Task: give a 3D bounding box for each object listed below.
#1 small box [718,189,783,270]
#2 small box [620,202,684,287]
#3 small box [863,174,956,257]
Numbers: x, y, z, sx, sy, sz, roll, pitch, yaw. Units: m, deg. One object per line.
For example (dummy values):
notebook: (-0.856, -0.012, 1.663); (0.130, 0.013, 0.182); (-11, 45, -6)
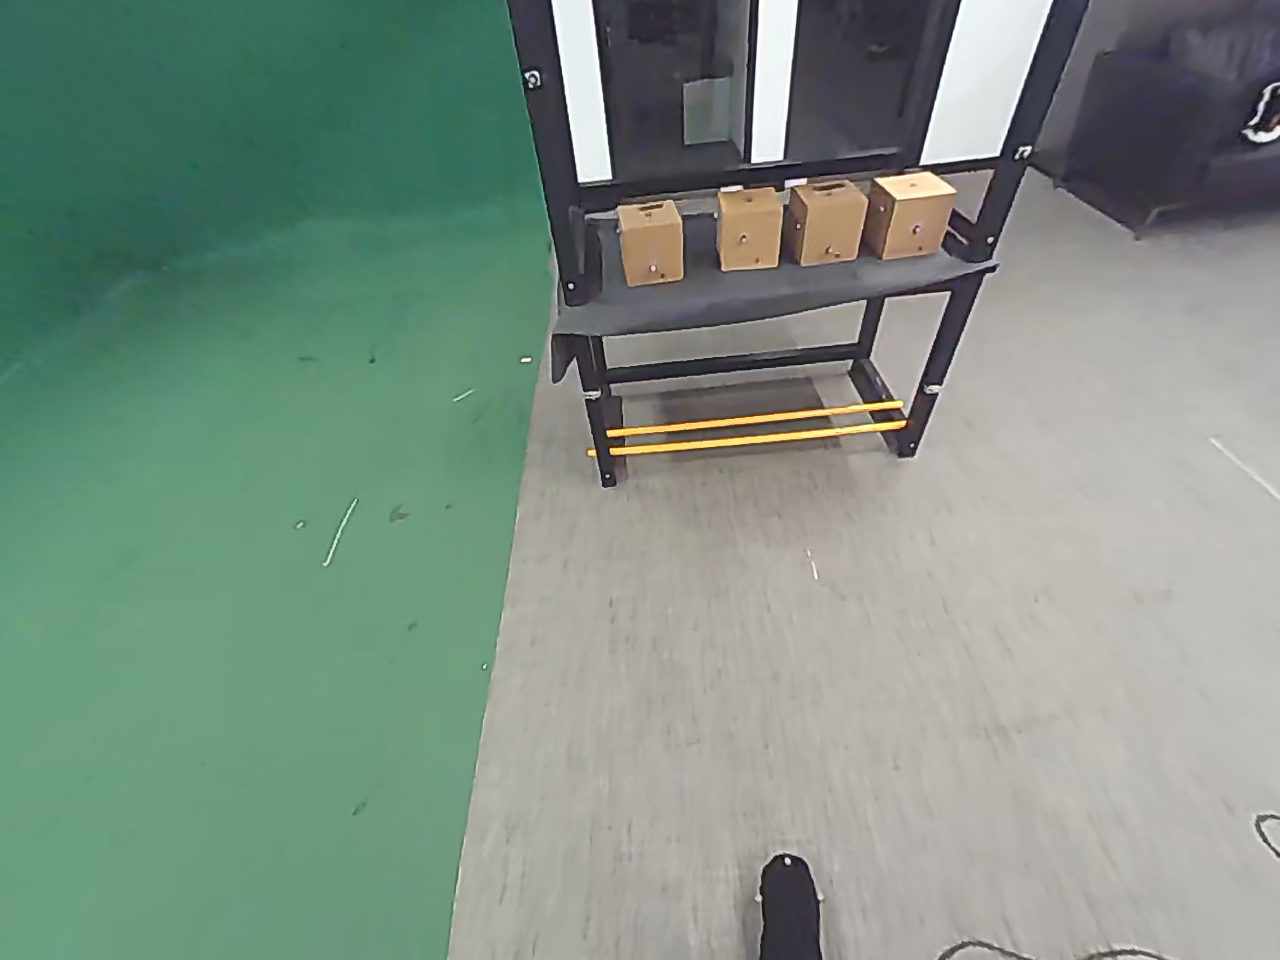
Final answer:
small box: (0.320, -0.731, 1.591); (0.168, 0.176, 0.179); (-3, 46, 4)
small box: (0.035, -0.687, 1.578); (0.168, 0.176, 0.179); (-8, 47, -1)
small box: (0.766, -0.755, 1.555); (0.168, 0.176, 0.179); (-7, 45, 0)
